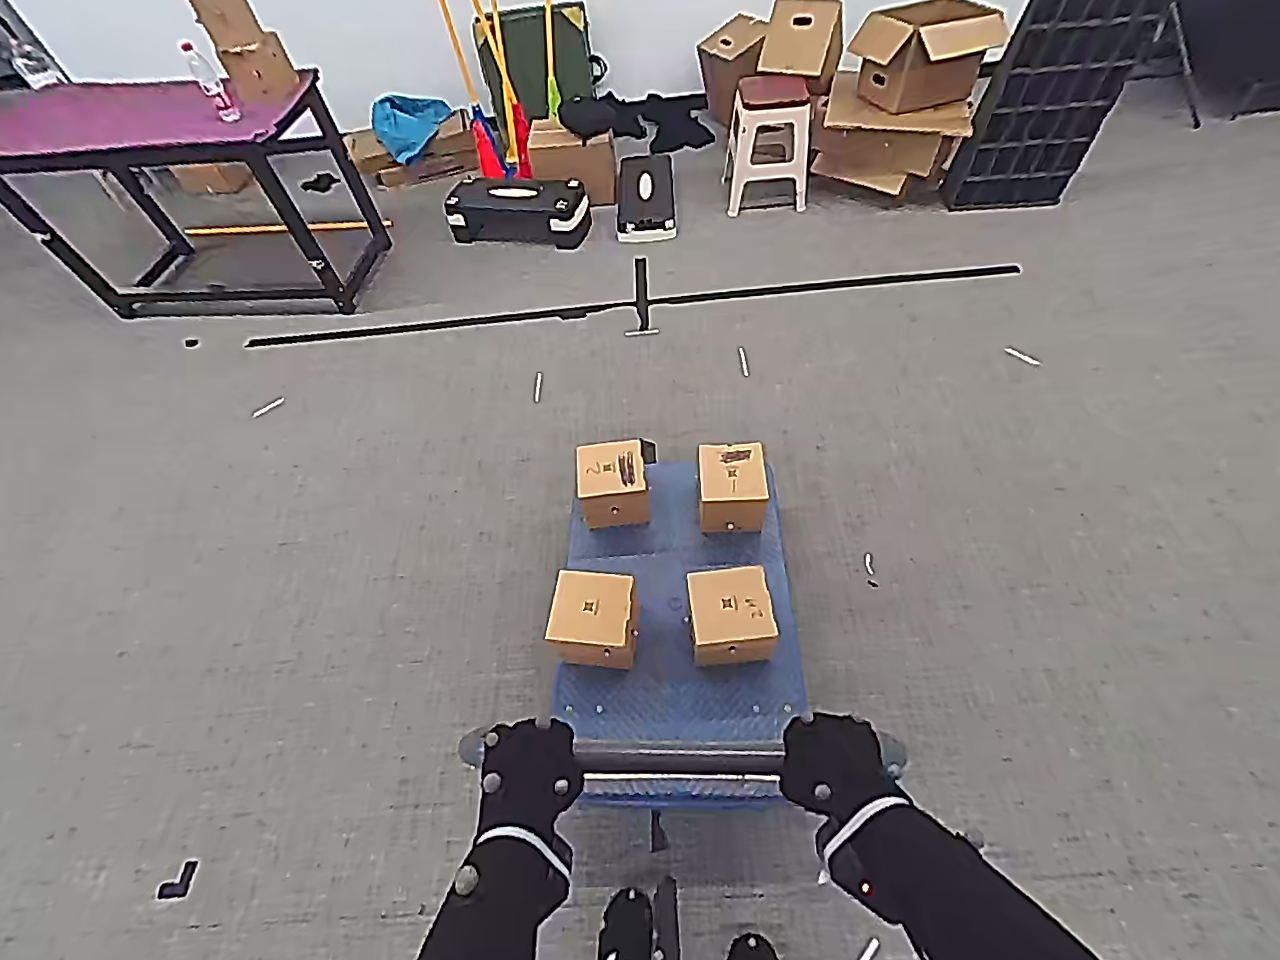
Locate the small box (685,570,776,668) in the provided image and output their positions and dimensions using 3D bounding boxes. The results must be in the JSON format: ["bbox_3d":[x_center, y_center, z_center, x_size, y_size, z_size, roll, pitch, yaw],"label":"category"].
[{"bbox_3d":[0.201,0.324,1.242,0.179,0.176,0.168,-6,55,1],"label":"small box"}]

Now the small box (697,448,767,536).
[{"bbox_3d":[0.238,0.033,1.438,0.168,0.176,0.179,-2,56,4],"label":"small box"}]

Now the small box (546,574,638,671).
[{"bbox_3d":[-0.105,0.336,1.263,0.179,0.176,0.168,4,55,6],"label":"small box"}]
